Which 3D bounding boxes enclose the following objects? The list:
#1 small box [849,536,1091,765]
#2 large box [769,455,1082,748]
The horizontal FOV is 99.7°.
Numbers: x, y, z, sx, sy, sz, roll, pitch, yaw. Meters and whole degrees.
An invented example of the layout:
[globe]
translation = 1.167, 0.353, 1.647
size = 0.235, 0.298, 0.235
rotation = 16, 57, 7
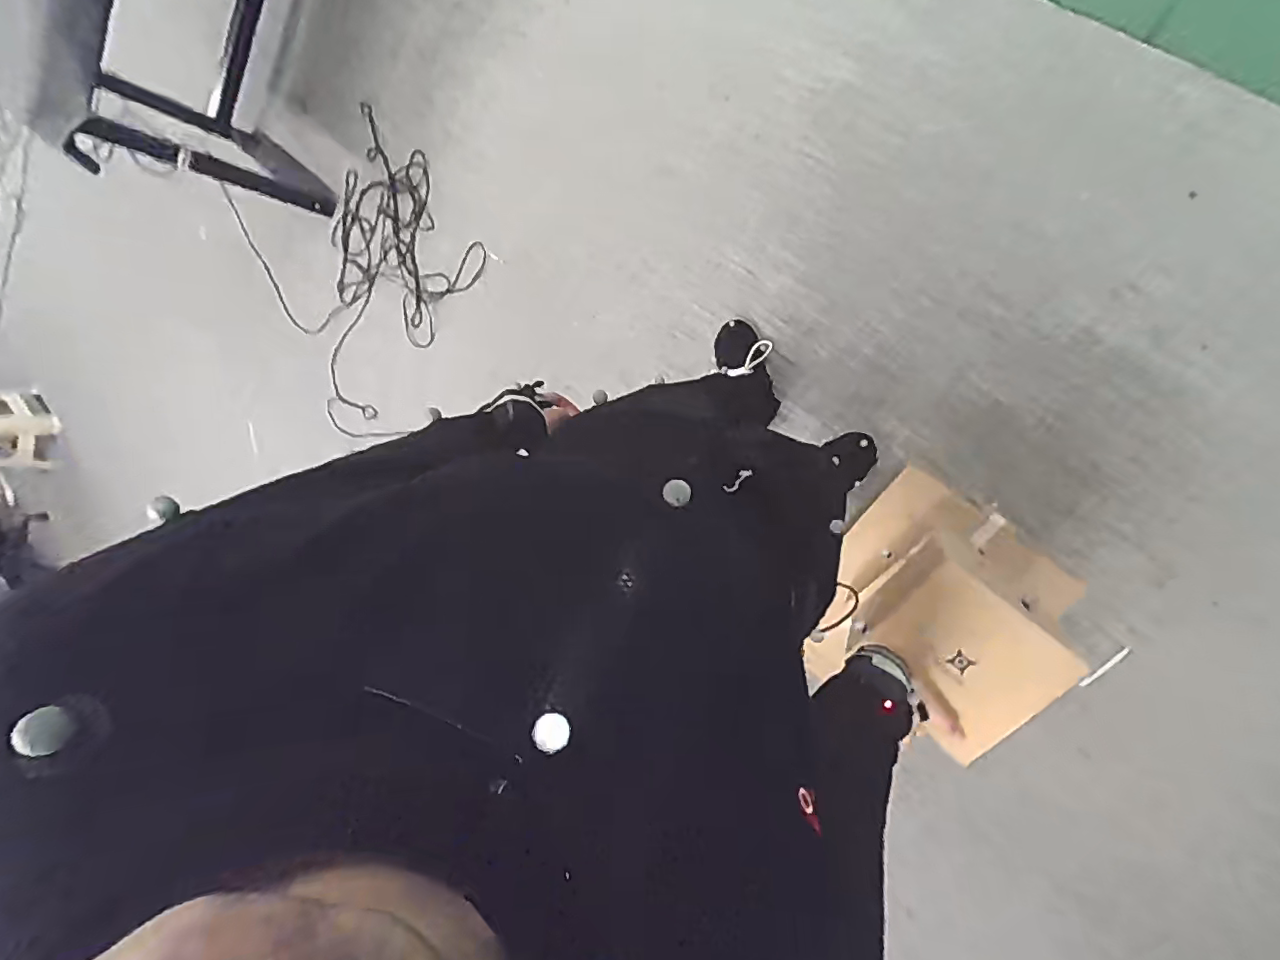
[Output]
[small box]
translation = 0.383, 0.193, 0.663
size = 0.168, 0.176, 0.179
rotation = 41, 113, 15
[large box]
translation = 0.522, 0.207, 1.052
size = 0.320, 0.320, 0.408
rotation = 41, 113, 18
